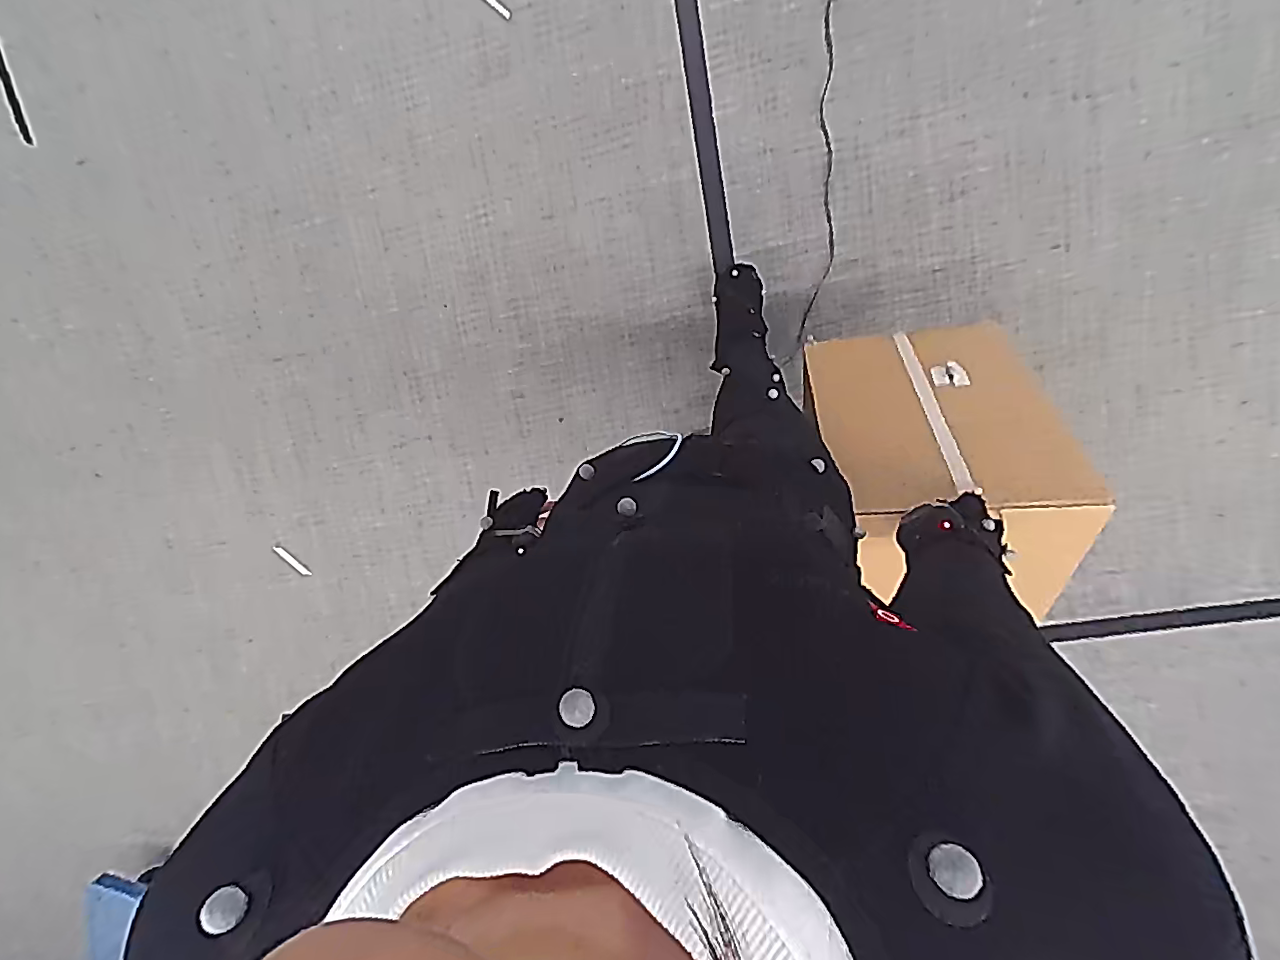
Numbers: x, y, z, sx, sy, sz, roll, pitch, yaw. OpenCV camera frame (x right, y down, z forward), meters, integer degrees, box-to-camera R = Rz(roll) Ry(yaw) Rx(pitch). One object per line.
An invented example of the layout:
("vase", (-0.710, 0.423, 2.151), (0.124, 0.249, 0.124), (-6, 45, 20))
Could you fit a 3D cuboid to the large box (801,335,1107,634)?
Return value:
("large box", (0.455, 0.004, 0.912), (0.320, 0.408, 0.320), (-2, 133, 10))
